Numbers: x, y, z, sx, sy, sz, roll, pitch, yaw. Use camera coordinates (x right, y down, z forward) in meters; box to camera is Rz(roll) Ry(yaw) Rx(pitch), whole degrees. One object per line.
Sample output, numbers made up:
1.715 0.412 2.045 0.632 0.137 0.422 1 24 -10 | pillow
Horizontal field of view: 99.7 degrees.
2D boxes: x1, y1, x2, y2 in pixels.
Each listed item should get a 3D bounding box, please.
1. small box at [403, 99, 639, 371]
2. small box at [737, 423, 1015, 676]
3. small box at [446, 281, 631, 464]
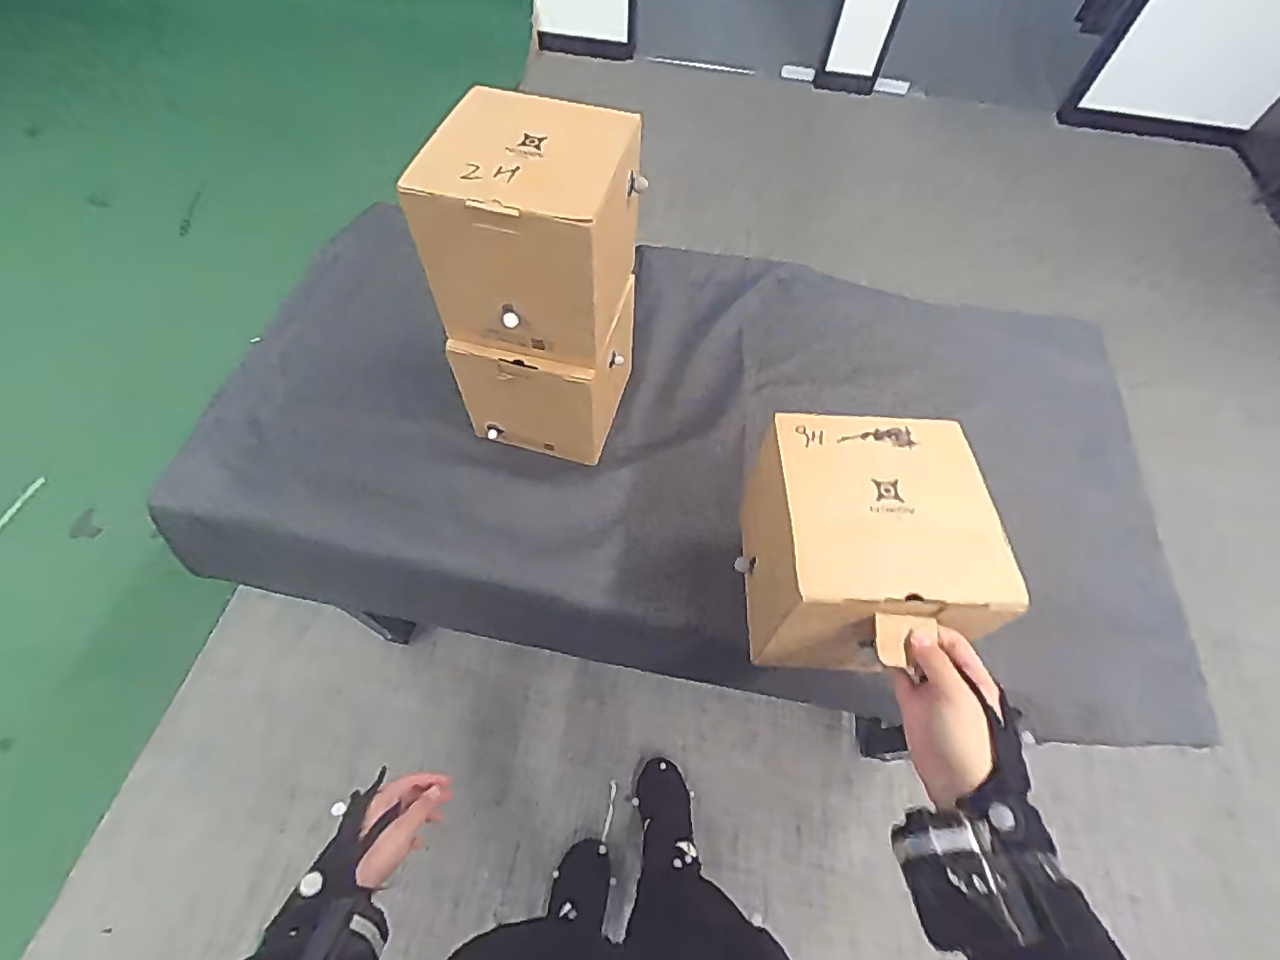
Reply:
-0.103 -0.242 0.548 0.168 0.176 0.179 12 59 5 | small box
0.188 0.070 0.496 0.168 0.176 0.179 3 55 0 | small box
-0.112 -0.144 0.681 0.168 0.176 0.179 14 59 5 | small box
